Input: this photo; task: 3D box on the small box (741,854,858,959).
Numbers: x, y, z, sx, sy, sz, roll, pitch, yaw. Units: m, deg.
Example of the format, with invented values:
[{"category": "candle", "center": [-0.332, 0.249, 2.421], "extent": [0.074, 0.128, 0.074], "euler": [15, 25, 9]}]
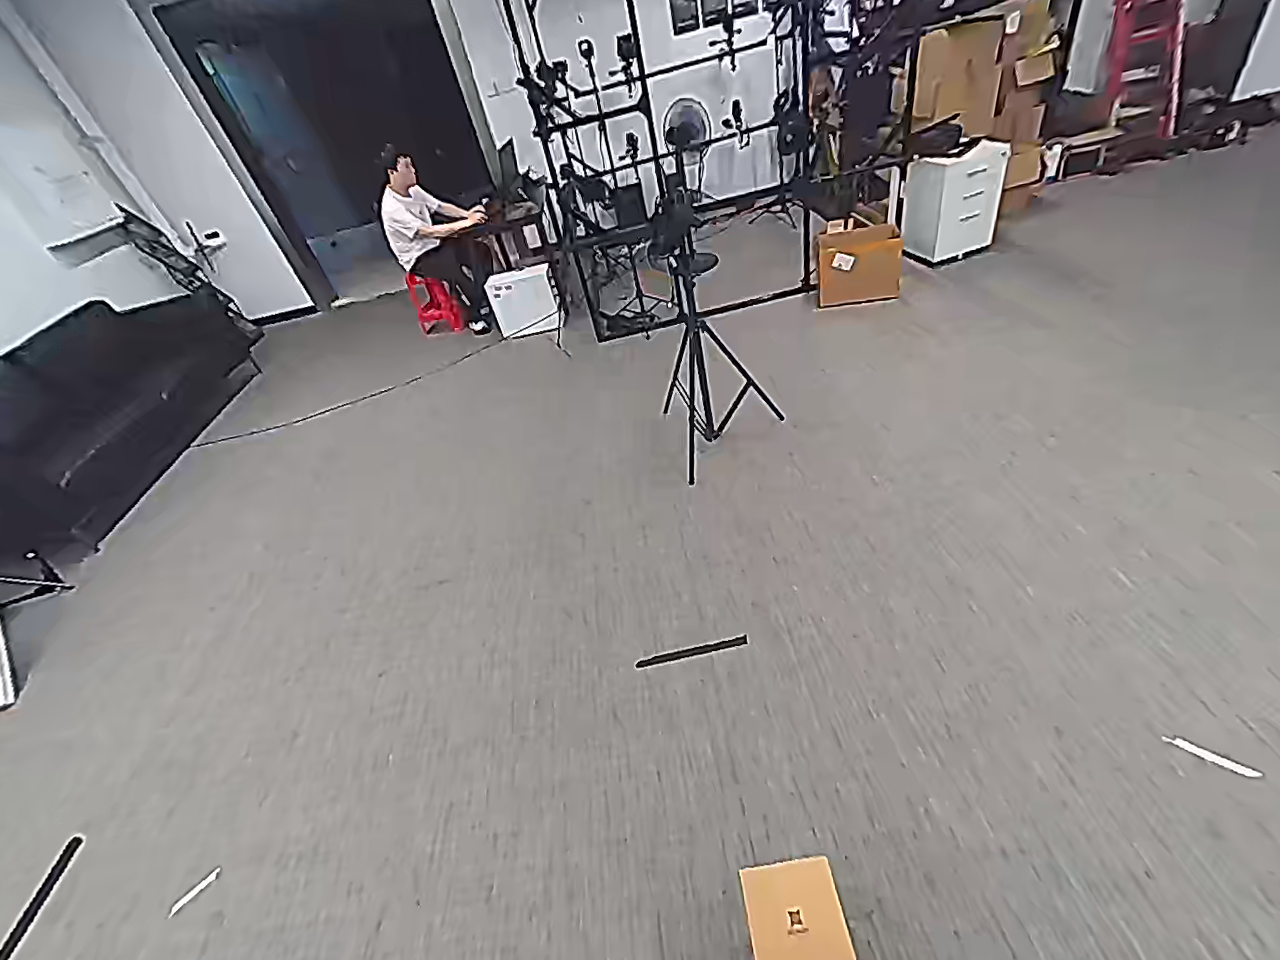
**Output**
[{"category": "small box", "center": [0.285, 0.815, 0.979], "extent": [0.168, 0.176, 0.179], "euler": [-12, 39, 4]}]
